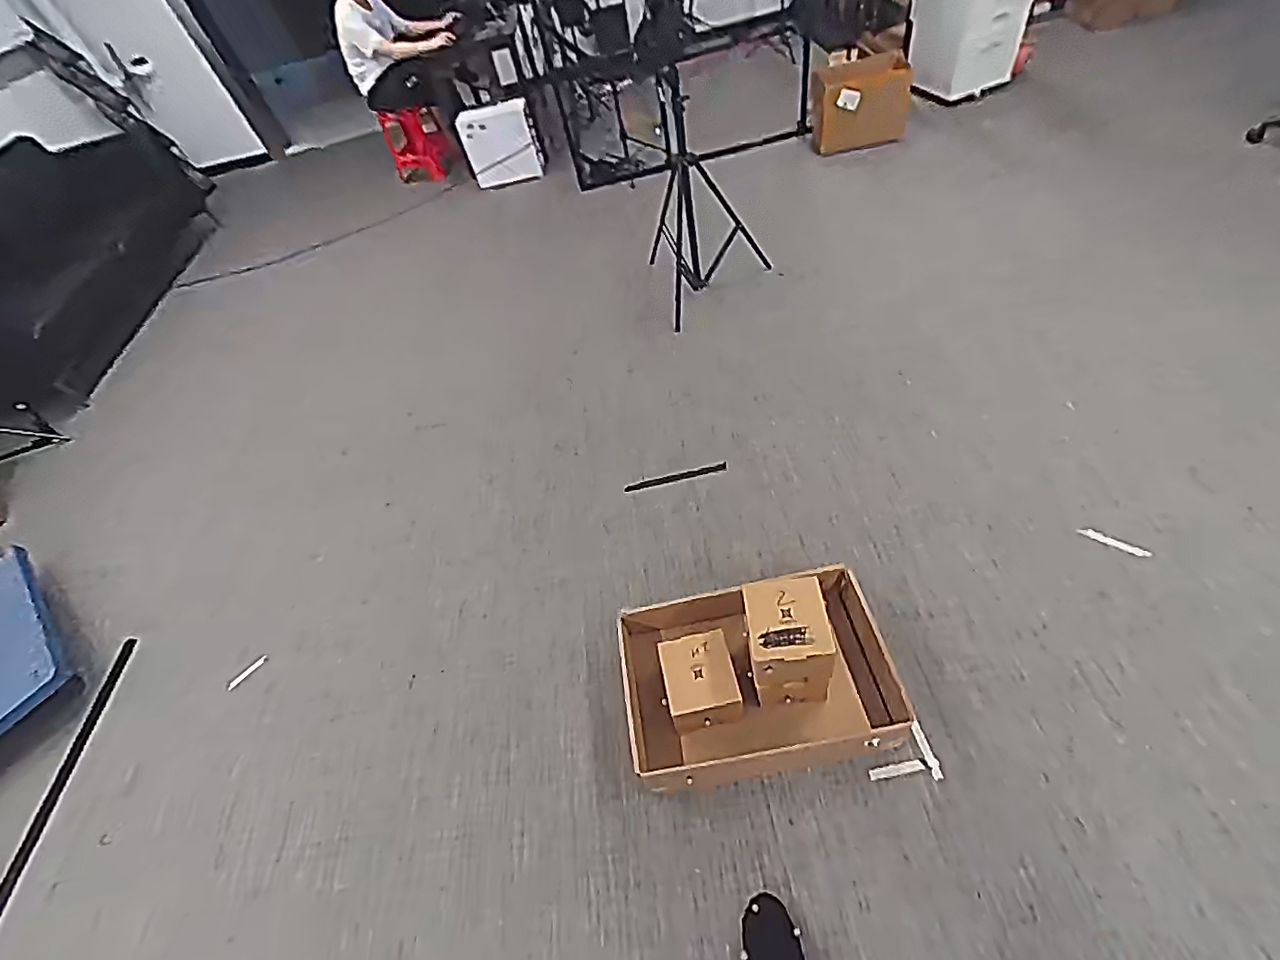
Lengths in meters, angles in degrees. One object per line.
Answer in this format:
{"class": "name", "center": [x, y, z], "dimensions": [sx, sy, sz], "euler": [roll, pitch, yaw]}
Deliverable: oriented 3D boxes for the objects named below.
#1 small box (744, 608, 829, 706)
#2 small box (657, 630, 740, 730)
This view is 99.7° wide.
{"class": "small box", "center": [0.354, 0.437, 1.327], "dimensions": [0.168, 0.176, 0.179], "euler": [-10, 52, 8]}
{"class": "small box", "center": [0.145, 0.496, 1.324], "dimensions": [0.168, 0.176, 0.179], "euler": [-13, 51, 0]}
